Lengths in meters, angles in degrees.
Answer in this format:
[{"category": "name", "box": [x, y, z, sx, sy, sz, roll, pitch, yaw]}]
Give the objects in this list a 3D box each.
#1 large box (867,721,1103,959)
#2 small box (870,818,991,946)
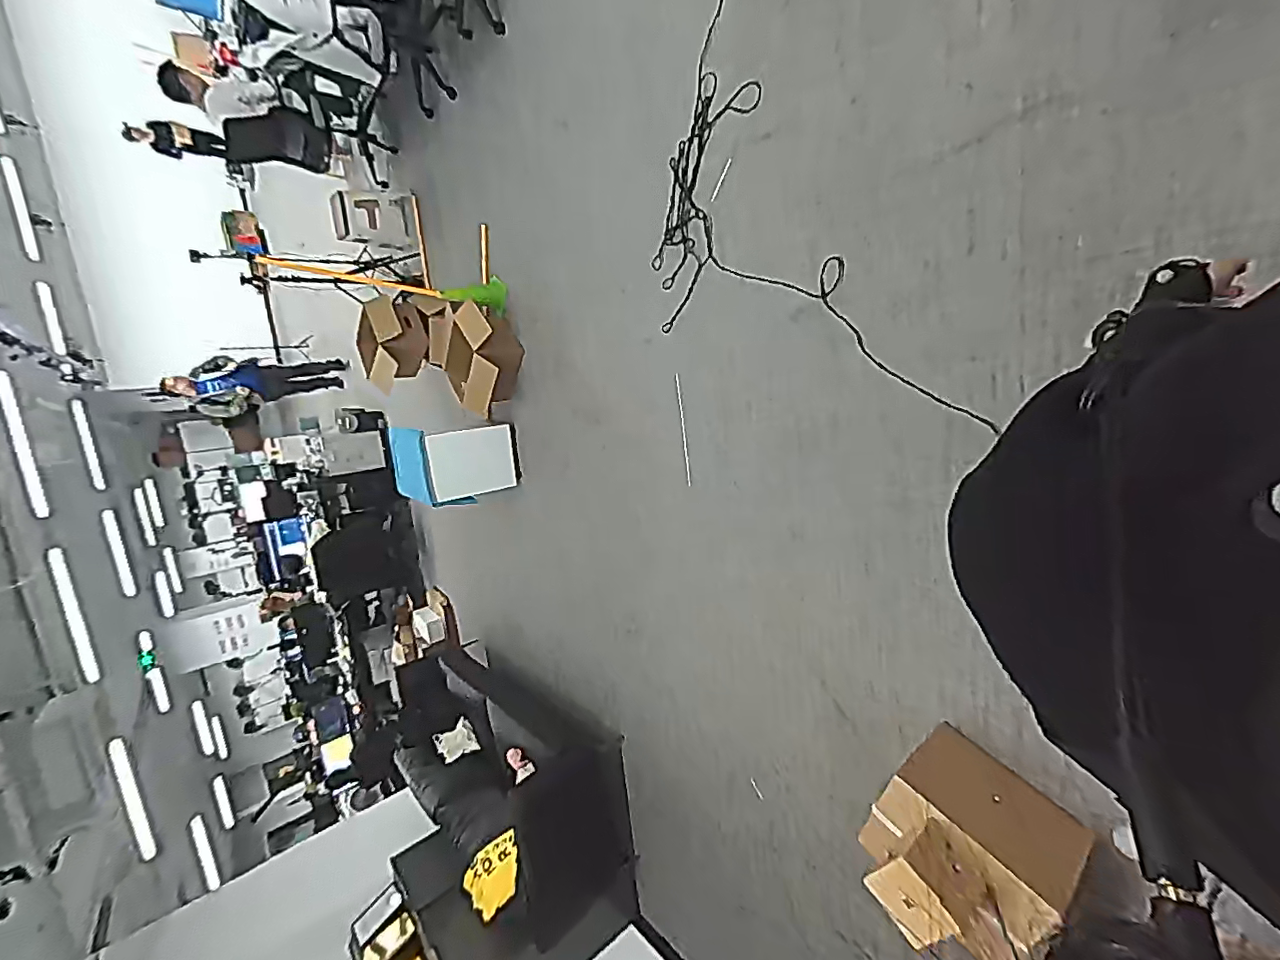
[{"category": "large box", "box": [0.912, 0.956, 1.464, 0.408, 0.320, 0.320, 34, 128, 40]}, {"category": "small box", "box": [0.711, 0.977, 1.322, 0.168, 0.176, 0.179, 48, 133, 32]}]
